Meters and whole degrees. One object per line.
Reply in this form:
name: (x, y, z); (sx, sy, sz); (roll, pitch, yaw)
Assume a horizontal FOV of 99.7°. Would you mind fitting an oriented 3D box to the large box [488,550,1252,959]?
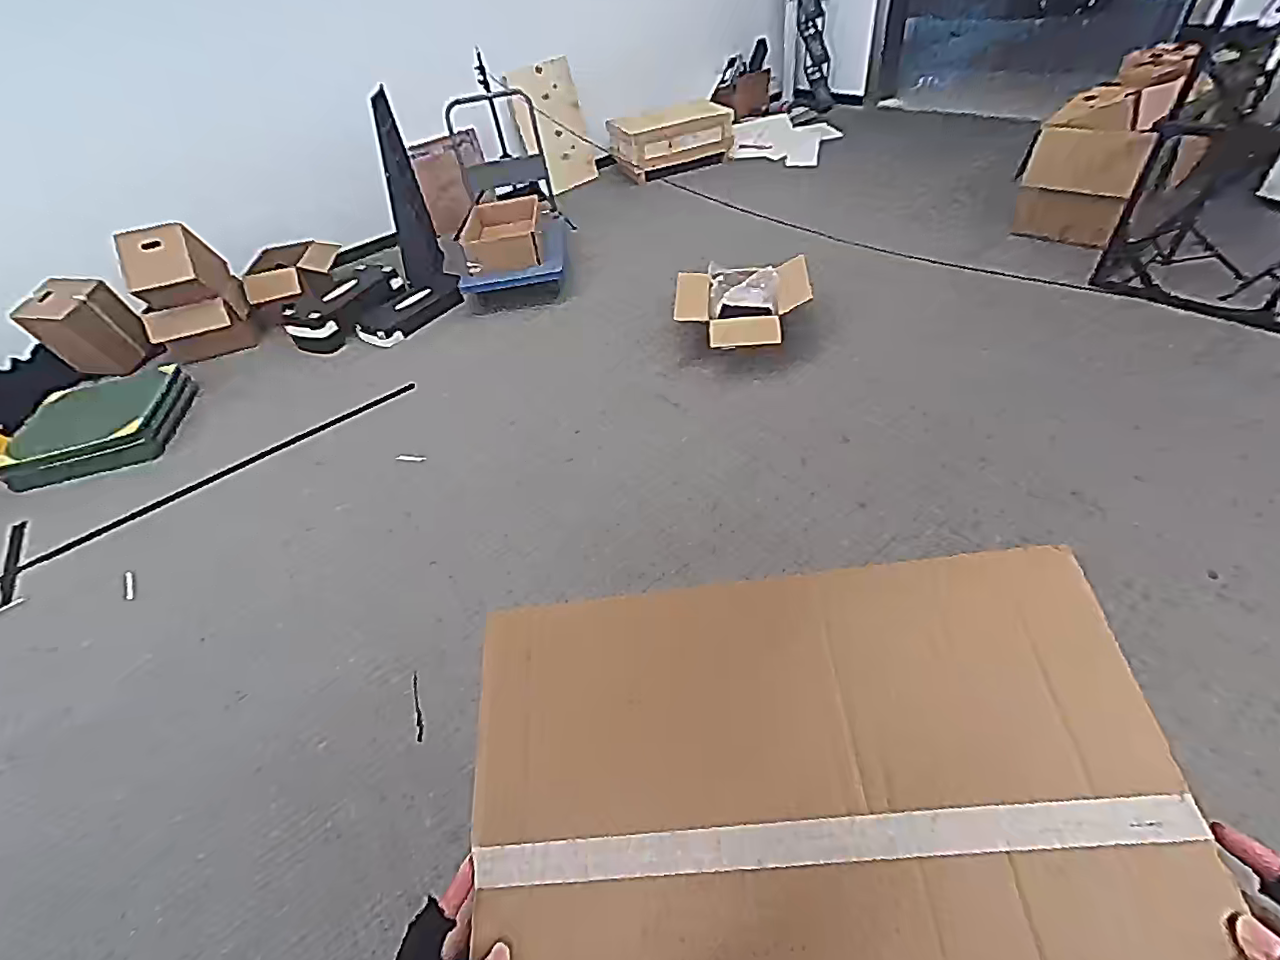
large box: (0.126, 0.279, 0.447); (0.408, 0.320, 0.320); (-8, 63, 7)
